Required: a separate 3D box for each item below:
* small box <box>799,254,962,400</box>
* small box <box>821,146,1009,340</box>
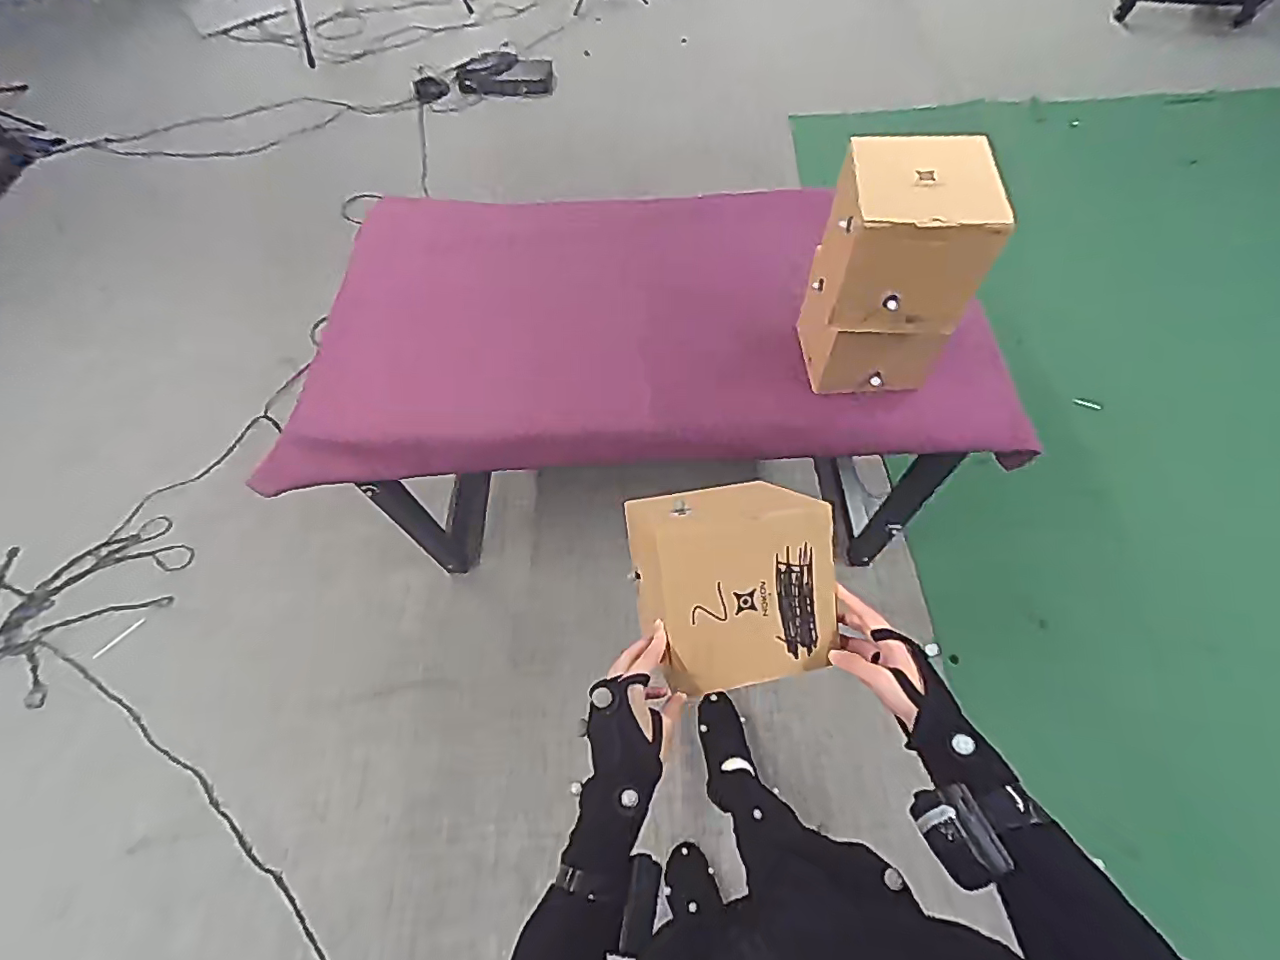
[{"bbox_3d":[0.369,-0.244,0.866,0.179,0.176,0.168,-3,58,3],"label":"small box"},{"bbox_3d":[0.343,-0.311,0.718,0.168,0.176,0.179,3,60,7],"label":"small box"}]
